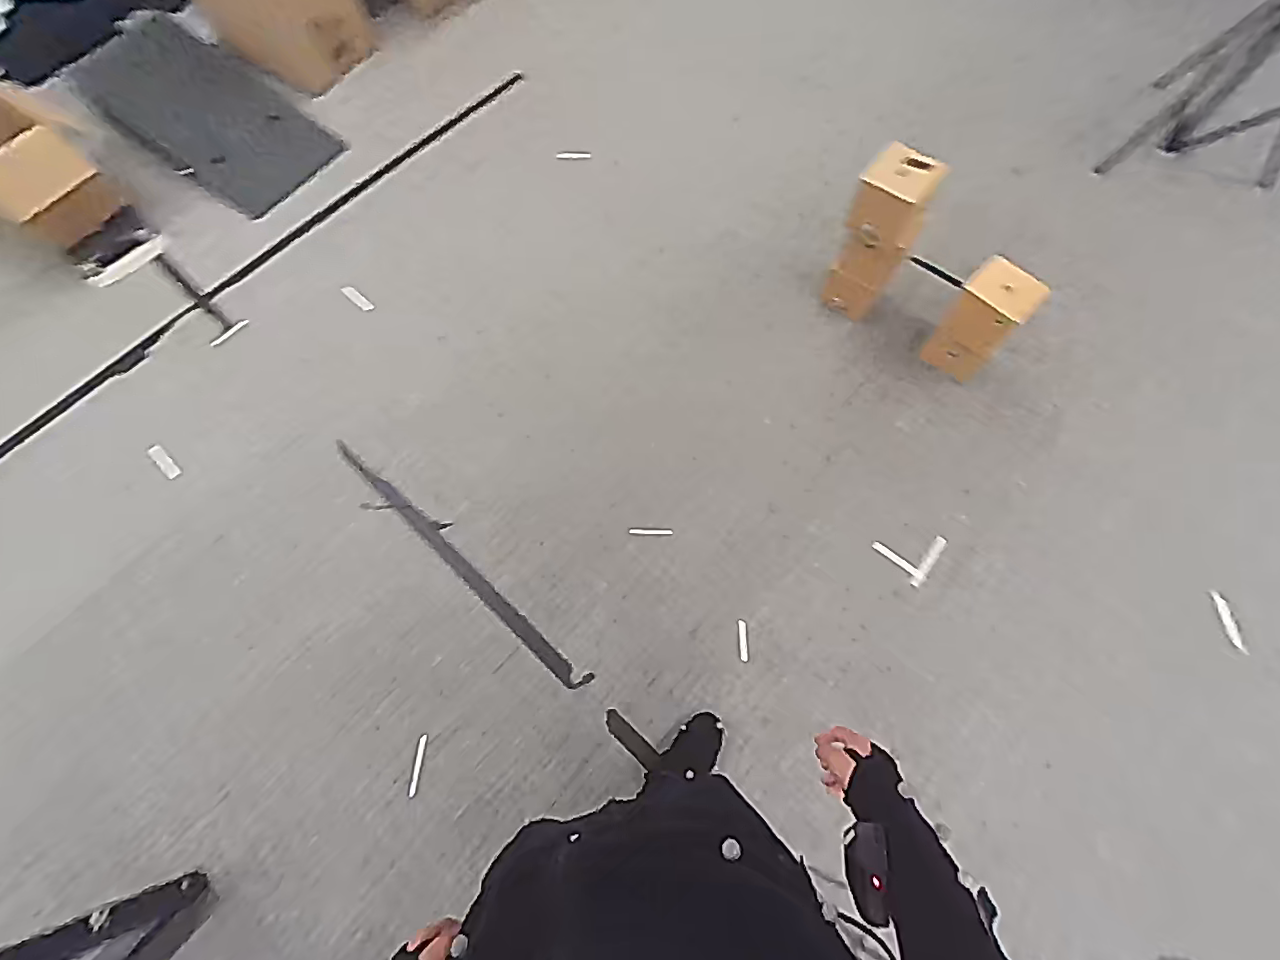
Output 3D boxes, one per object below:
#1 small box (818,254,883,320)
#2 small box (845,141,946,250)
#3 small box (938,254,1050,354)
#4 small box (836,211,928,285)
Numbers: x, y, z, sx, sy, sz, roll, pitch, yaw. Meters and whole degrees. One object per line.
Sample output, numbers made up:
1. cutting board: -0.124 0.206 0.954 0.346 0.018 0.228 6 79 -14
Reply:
1. small box: 0.722 -0.676 1.805 0.168 0.176 0.179 35 74 15
2. small box: 0.696 -0.783 1.496 0.168 0.176 0.179 37 75 16
3. small box: 1.004 -0.499 1.552 0.168 0.176 0.179 -42 74 -13
4. small box: 0.729 -0.731 1.650 0.179 0.176 0.168 34 74 14
